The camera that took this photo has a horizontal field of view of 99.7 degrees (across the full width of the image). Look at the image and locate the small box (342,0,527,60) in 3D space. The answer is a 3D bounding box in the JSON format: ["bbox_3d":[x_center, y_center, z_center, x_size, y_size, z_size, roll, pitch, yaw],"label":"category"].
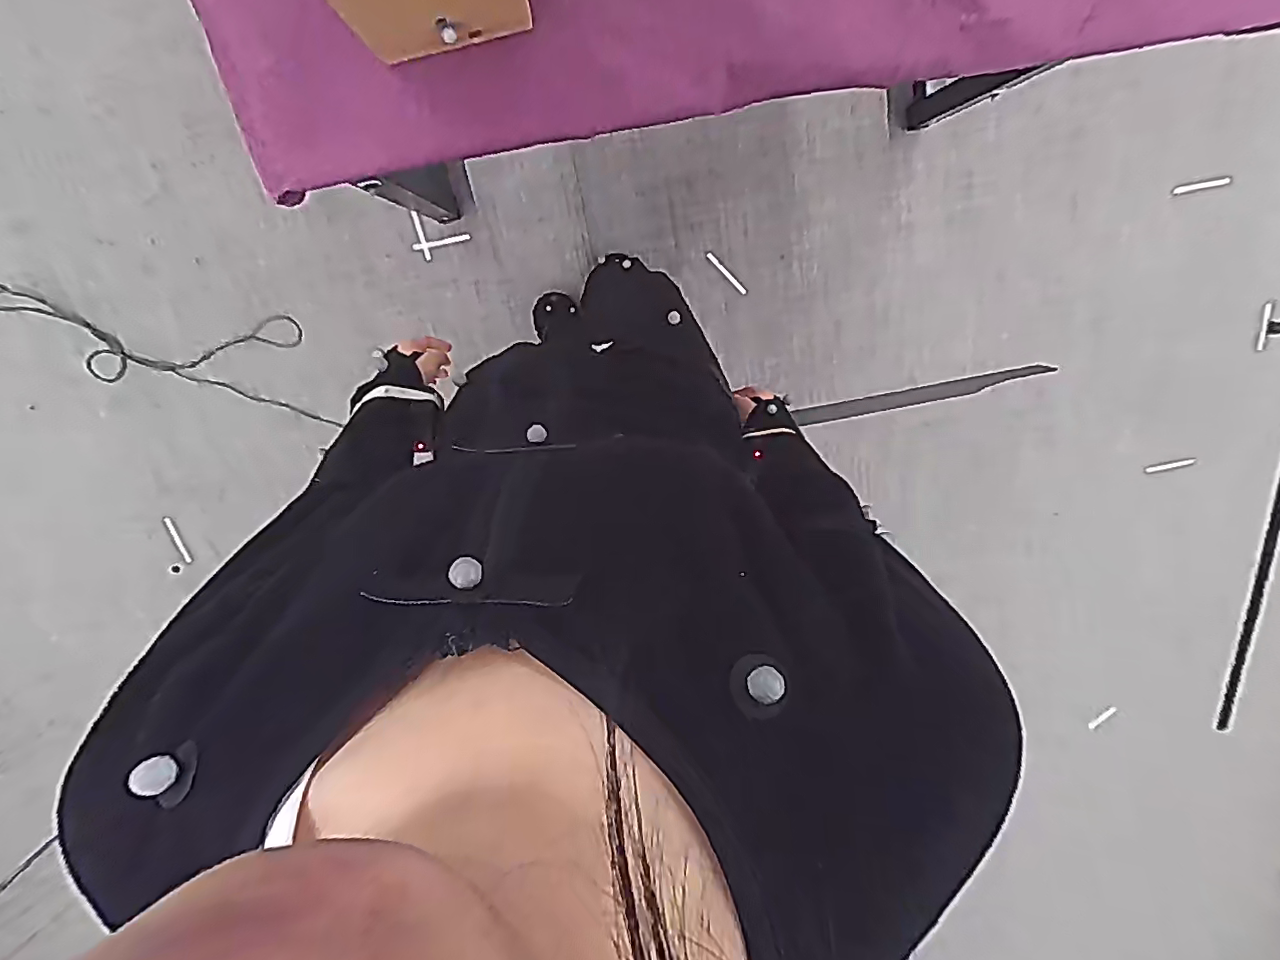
[{"bbox_3d":[-0.207,-0.516,0.470,0.168,0.176,0.179,-14,110,0],"label":"small box"}]
